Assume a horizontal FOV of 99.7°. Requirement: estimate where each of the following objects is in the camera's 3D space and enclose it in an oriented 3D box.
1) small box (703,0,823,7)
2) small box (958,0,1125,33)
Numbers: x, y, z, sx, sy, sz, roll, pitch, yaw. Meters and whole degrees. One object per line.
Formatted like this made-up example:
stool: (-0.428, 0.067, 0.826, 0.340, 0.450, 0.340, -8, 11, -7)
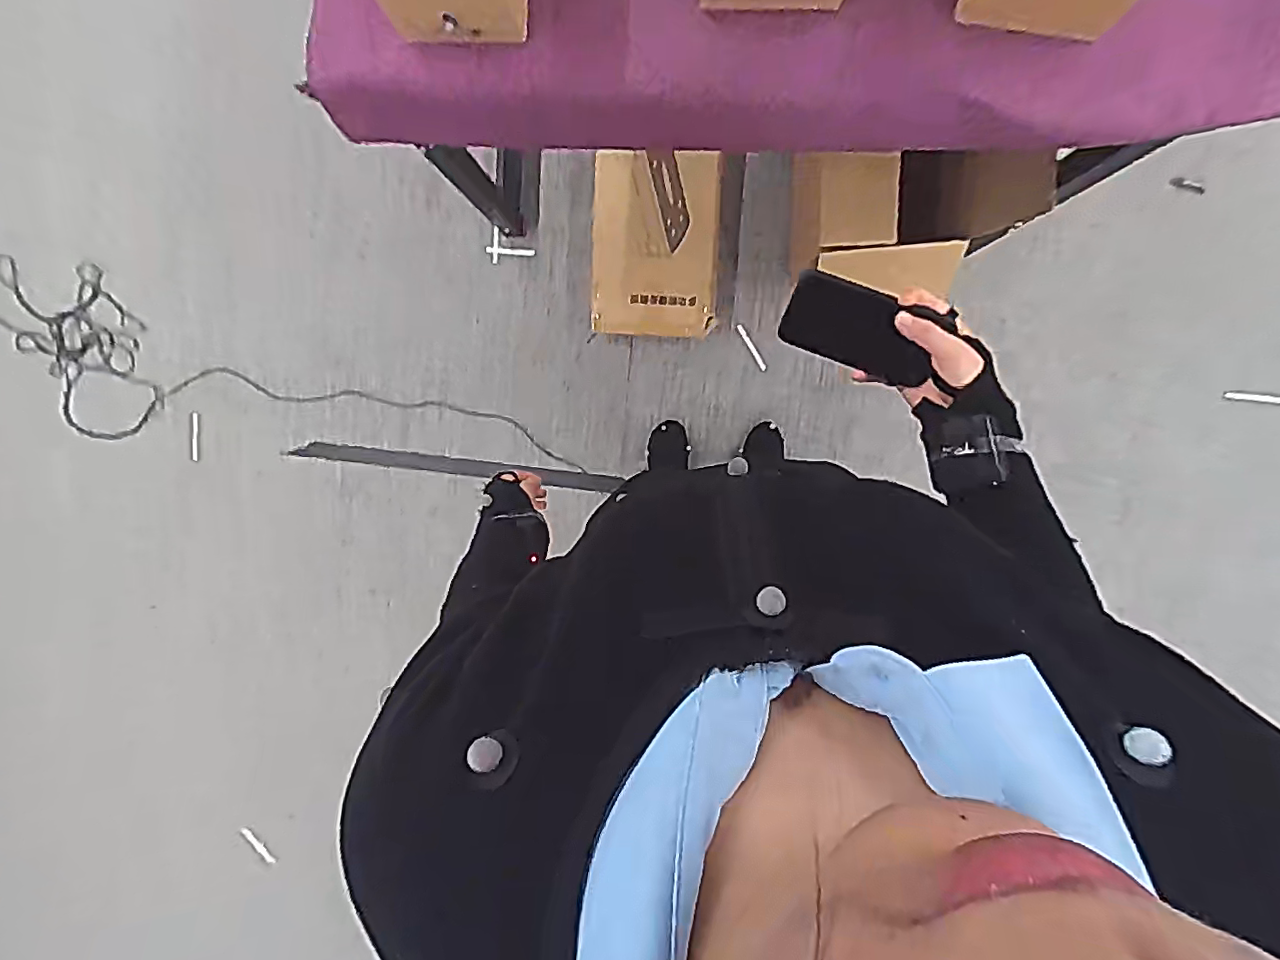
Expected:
small box: (0.161, -0.666, 0.591, 0.179, 0.176, 0.168, 3, 95, 4)
small box: (0.476, -0.623, 0.572, 0.179, 0.176, 0.168, 10, 98, 3)
